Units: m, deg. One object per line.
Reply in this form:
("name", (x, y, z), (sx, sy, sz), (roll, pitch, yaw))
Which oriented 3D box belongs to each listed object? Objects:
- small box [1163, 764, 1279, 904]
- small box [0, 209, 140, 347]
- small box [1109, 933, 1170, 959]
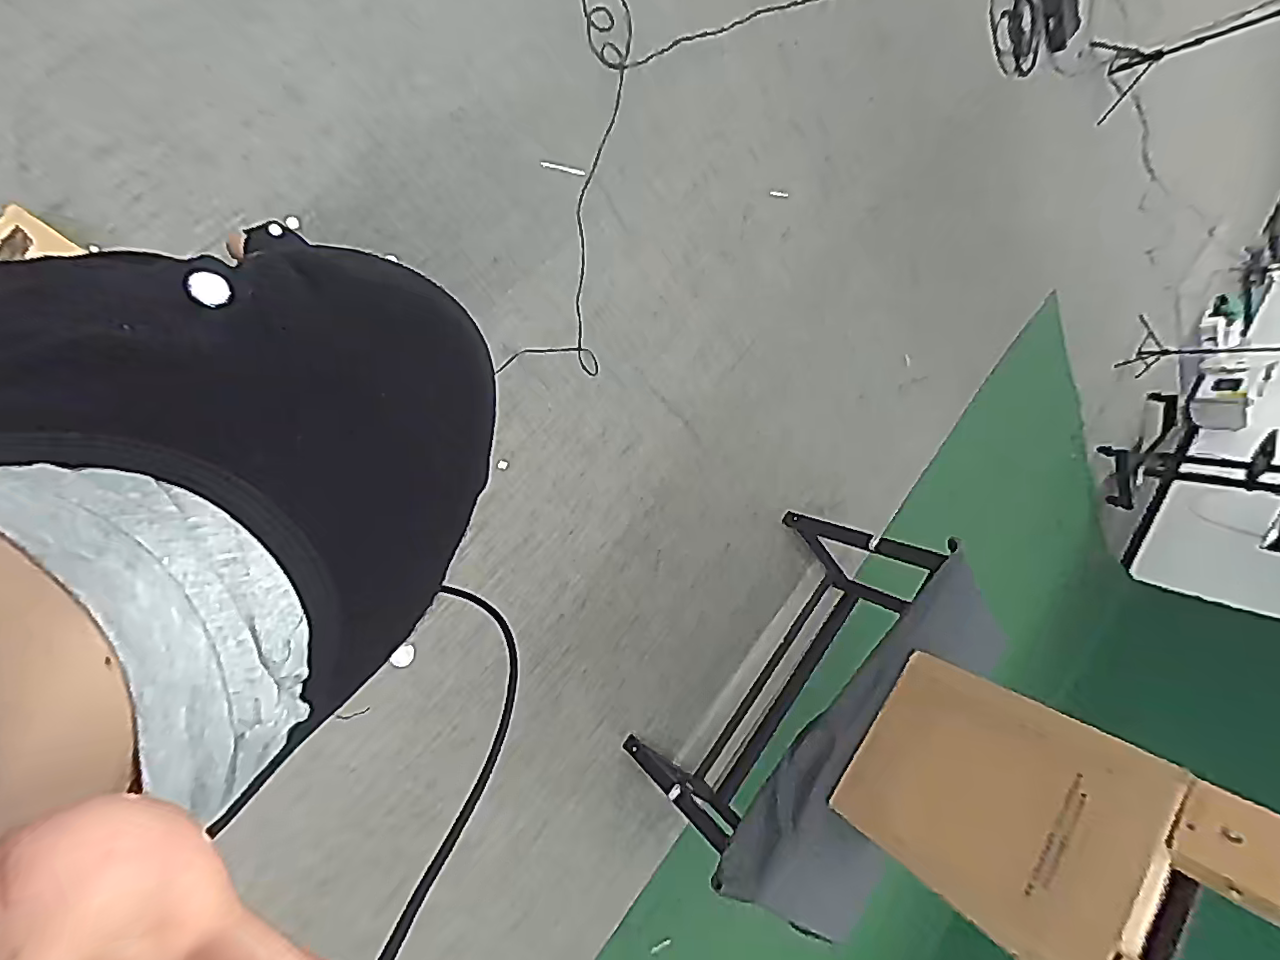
("small box", (1.253, 0.741, 1.150), (0.179, 0.176, 0.168), (46, 73, -31))
("small box", (-1.107, -0.364, 1.016), (0.179, 0.176, 0.168), (41, 77, -33))
("small box", (1.017, 1.030, 1.053), (0.179, 0.176, 0.168), (37, 81, -34))
